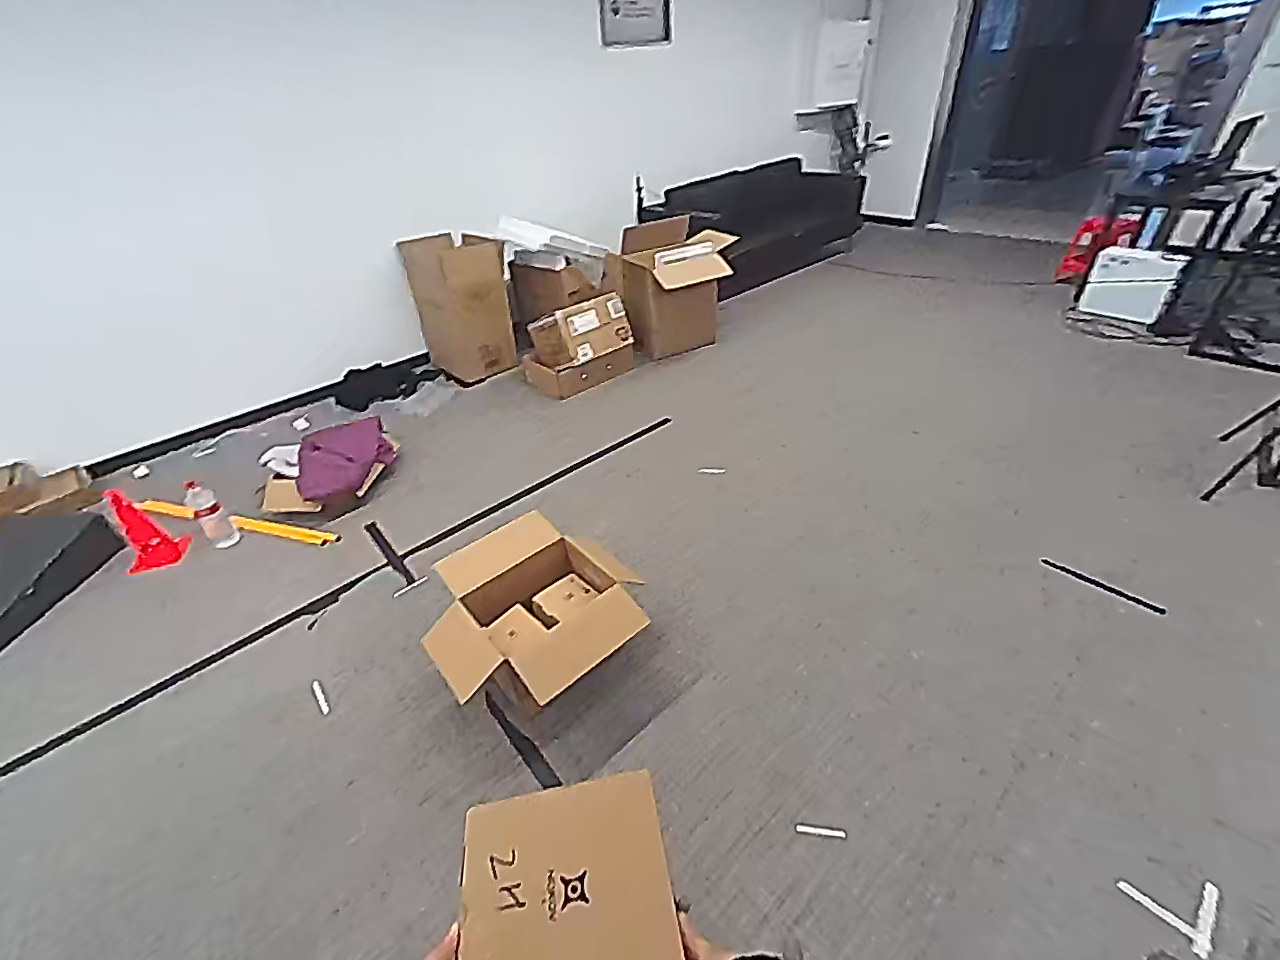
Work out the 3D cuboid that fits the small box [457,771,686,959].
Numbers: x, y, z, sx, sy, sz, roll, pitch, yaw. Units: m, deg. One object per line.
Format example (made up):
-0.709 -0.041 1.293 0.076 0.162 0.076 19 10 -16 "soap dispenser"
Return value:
-0.056 0.404 0.497 0.179 0.176 0.168 -11 37 -5 "small box"
